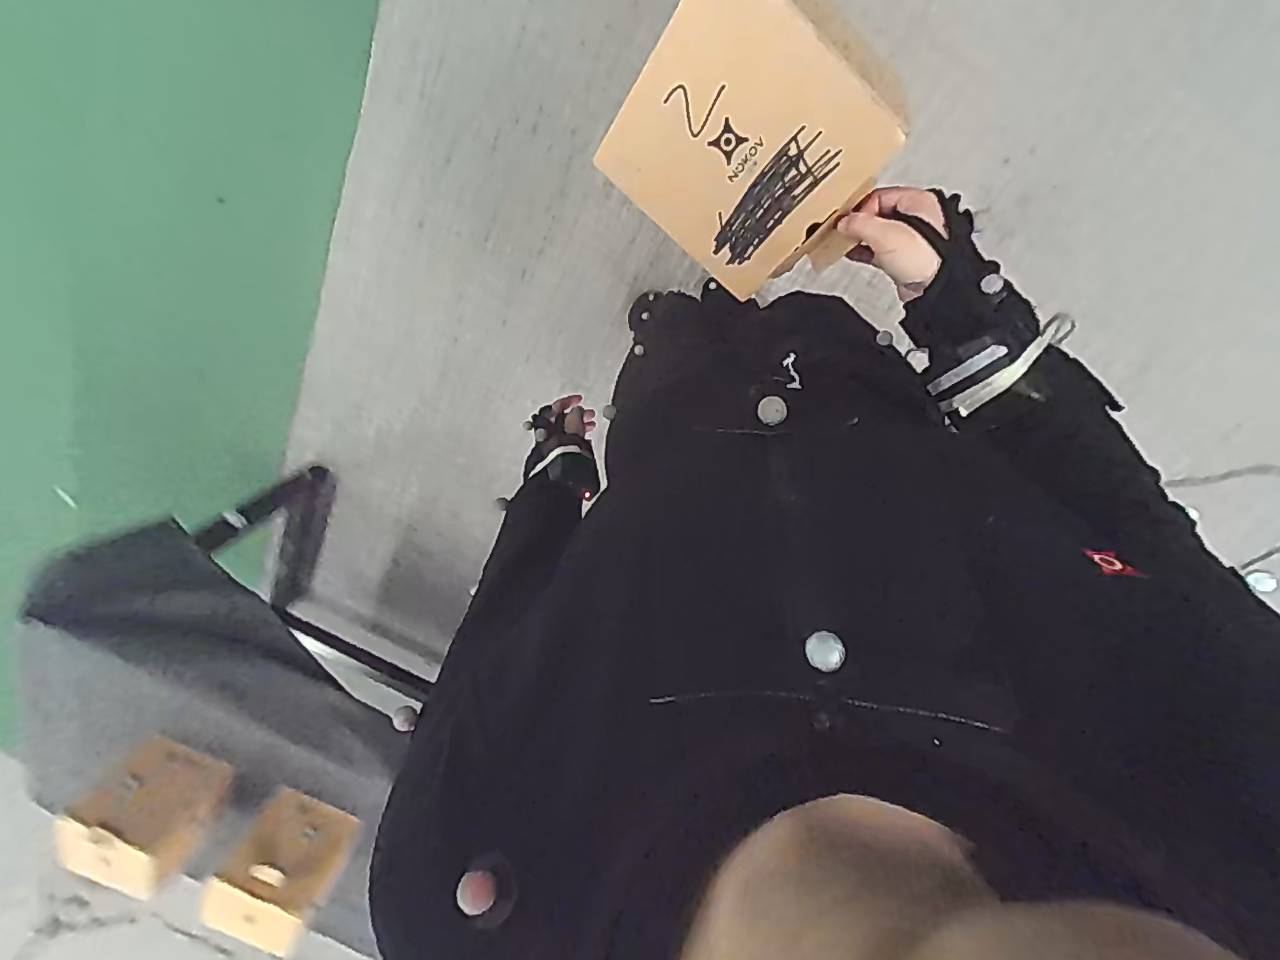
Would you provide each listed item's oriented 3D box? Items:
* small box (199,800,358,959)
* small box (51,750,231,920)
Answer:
[{"bbox_3d":[-0.641,0.726,0.972,0.168,0.176,0.179,27,116,-3],"label":"small box"},{"bbox_3d":[-0.870,0.621,0.960,0.168,0.176,0.179,25,117,-2],"label":"small box"}]
